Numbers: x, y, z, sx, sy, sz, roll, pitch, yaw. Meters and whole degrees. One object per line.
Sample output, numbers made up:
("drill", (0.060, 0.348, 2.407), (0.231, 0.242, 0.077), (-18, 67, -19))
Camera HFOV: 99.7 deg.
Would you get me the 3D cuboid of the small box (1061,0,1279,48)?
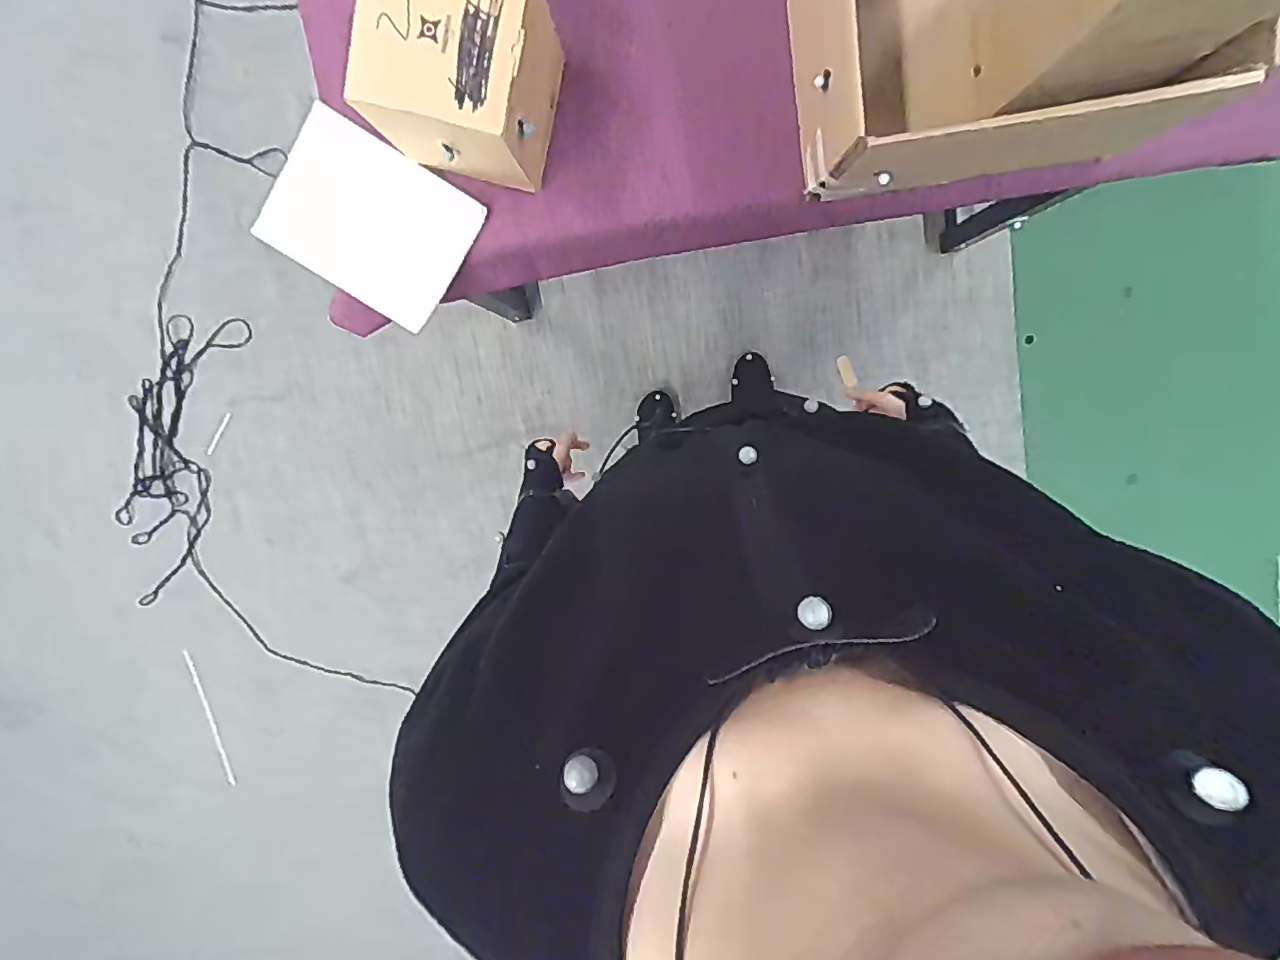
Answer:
("small box", (0.452, -0.460, 0.388), (0.179, 0.176, 0.168), (-6, 98, 6))
